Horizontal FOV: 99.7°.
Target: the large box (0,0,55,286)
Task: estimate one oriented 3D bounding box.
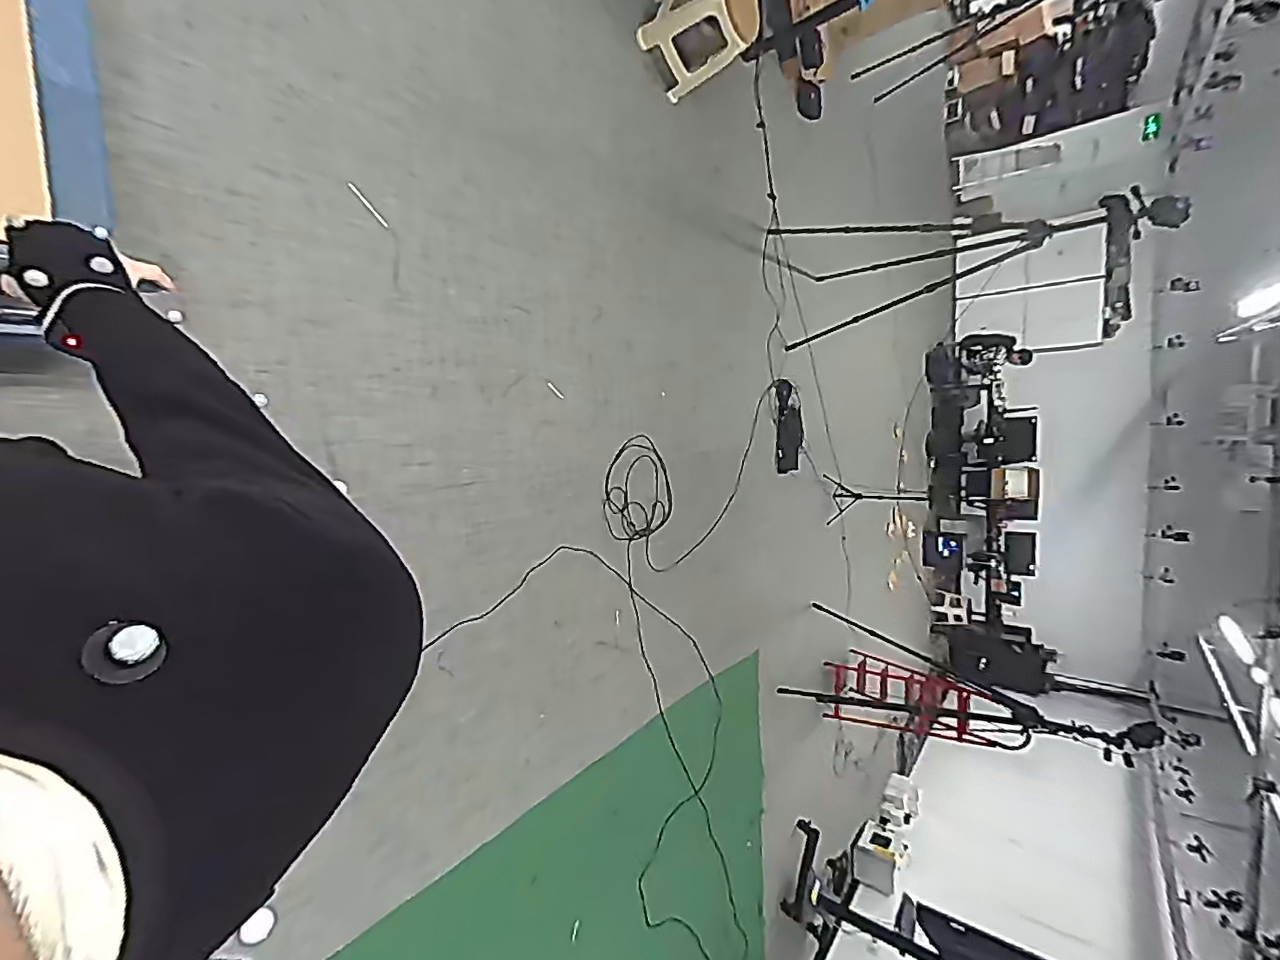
[{"bbox_3d":[-1.107,-0.532,0.775,0.320,0.320,0.408,-10,98,-50],"label":"large box"}]
